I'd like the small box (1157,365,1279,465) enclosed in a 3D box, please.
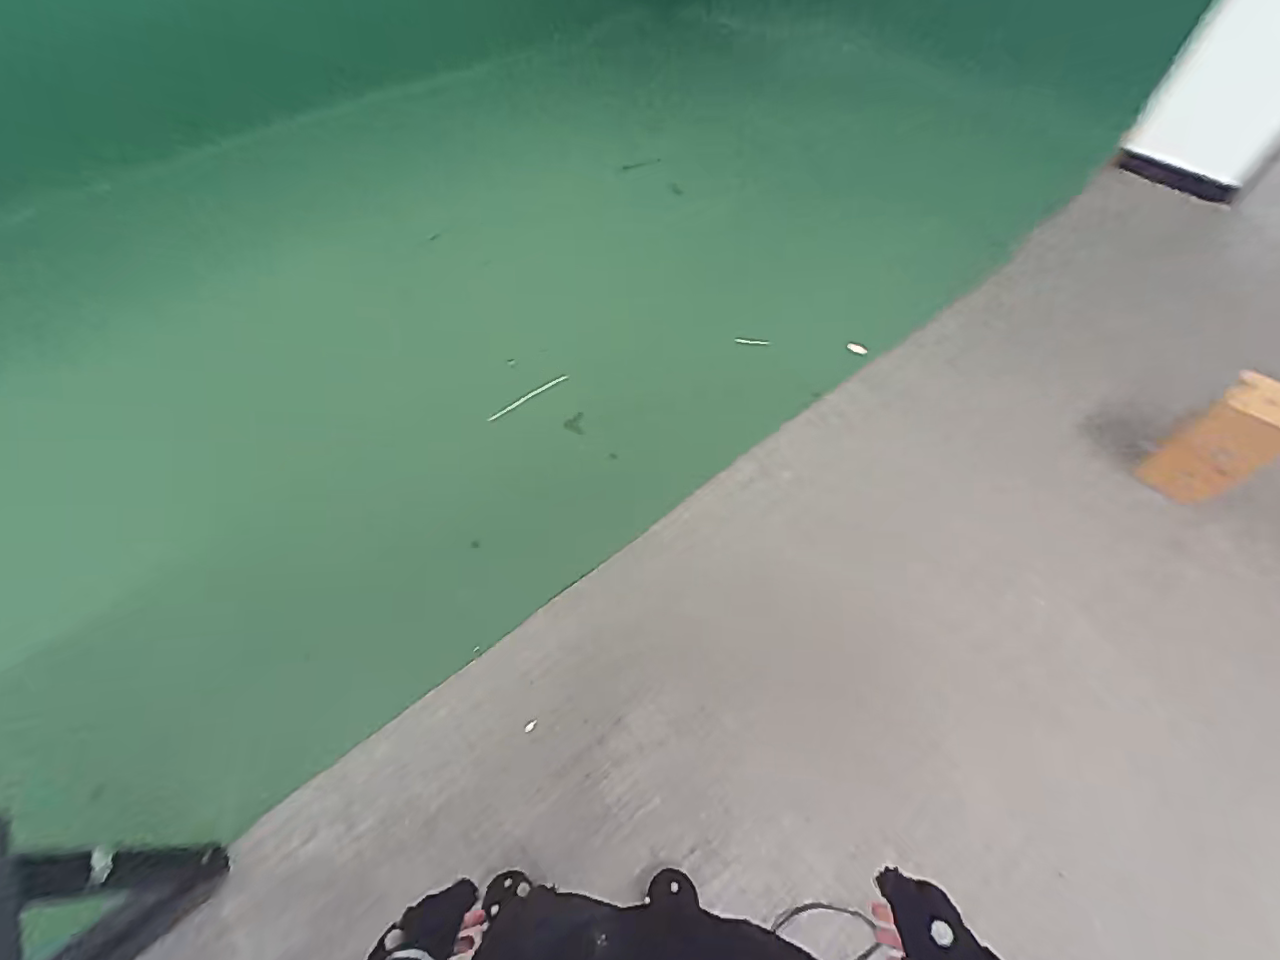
[{"bbox_3d":[1.553,-0.163,1.432,0.168,0.176,0.179,-40,65,-21],"label":"small box"}]

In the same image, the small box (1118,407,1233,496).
[{"bbox_3d":[1.561,-0.076,1.571,0.179,0.176,0.168,35,65,21],"label":"small box"}]
